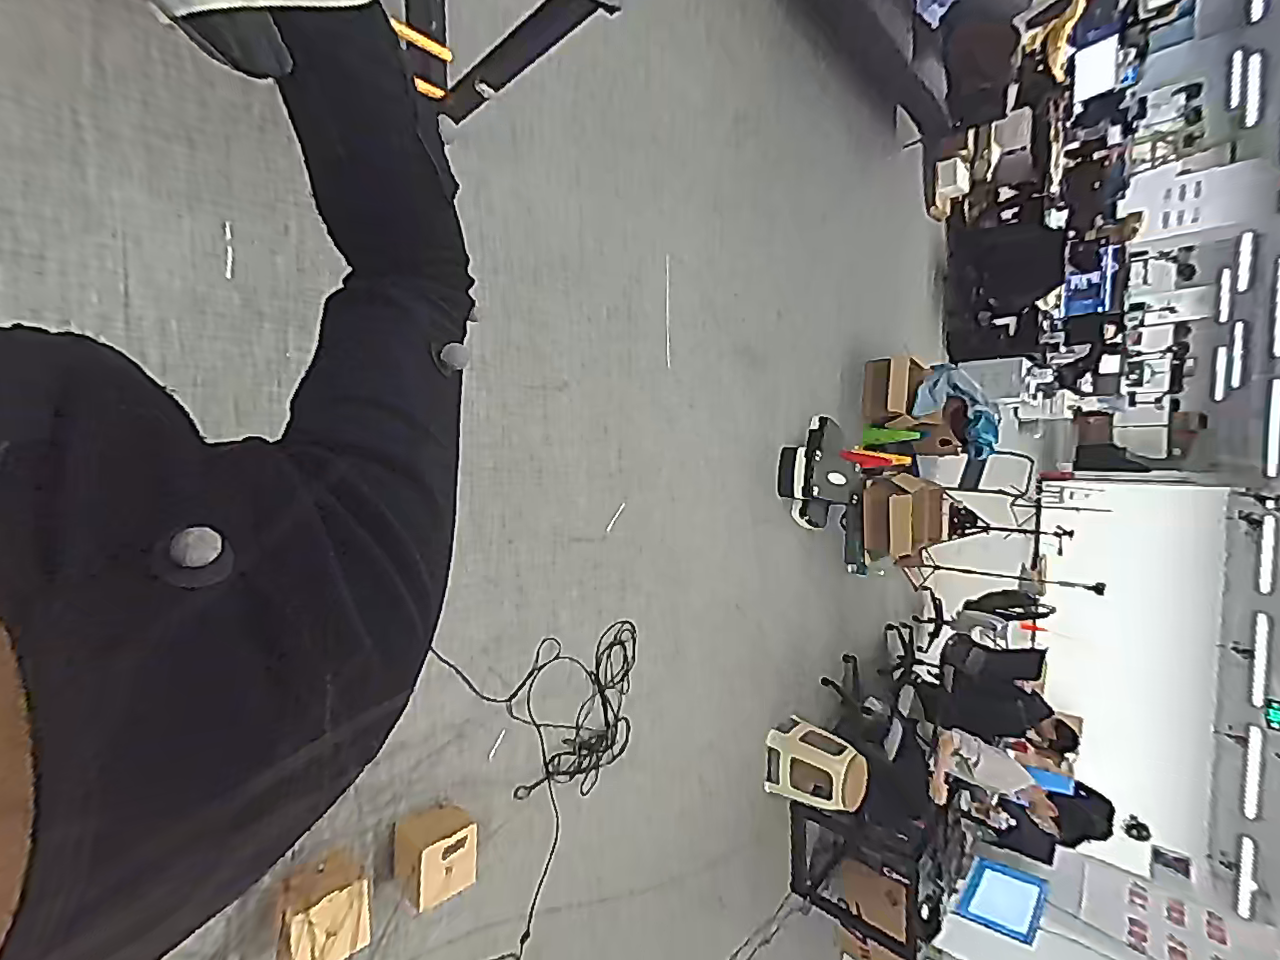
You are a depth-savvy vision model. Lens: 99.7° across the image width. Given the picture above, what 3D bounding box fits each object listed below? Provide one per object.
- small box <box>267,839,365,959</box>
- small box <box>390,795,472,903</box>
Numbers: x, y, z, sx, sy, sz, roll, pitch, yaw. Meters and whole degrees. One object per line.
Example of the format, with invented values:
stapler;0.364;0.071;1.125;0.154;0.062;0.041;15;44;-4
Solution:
small box;-0.796;1.038;1.328;0.168;0.176;0.179;-7;96;-47
small box;-0.598;1.035;1.542;0.168;0.176;0.179;1;93;-47
